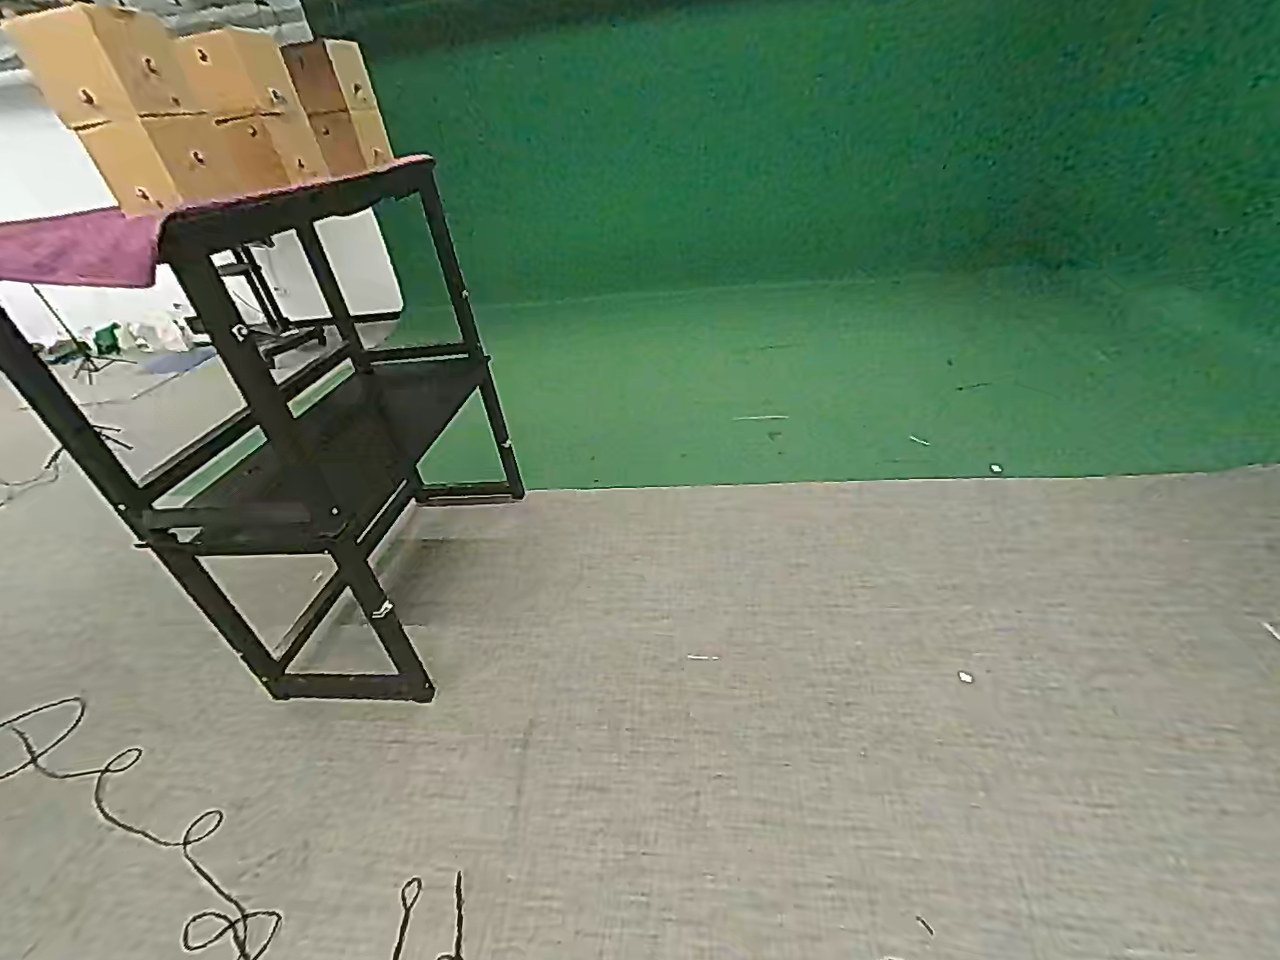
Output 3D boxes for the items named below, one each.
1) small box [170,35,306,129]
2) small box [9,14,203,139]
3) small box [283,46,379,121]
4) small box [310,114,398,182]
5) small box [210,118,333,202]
[{"bbox_3d":[-0.989,-0.983,1.347,0.179,0.176,0.168,-3,36,7],"label":"small box"},{"bbox_3d":[-1.027,-0.787,1.063,0.179,0.176,0.168,-3,35,9],"label":"small box"},{"bbox_3d":[-0.948,-1.212,1.662,0.179,0.176,0.168,1,37,12],"label":"small box"},{"bbox_3d":[-0.927,-1.077,1.755,0.179,0.176,0.168,1,36,12],"label":"small box"},{"bbox_3d":[-0.972,-0.853,1.444,0.179,0.176,0.168,-1,35,12],"label":"small box"}]
